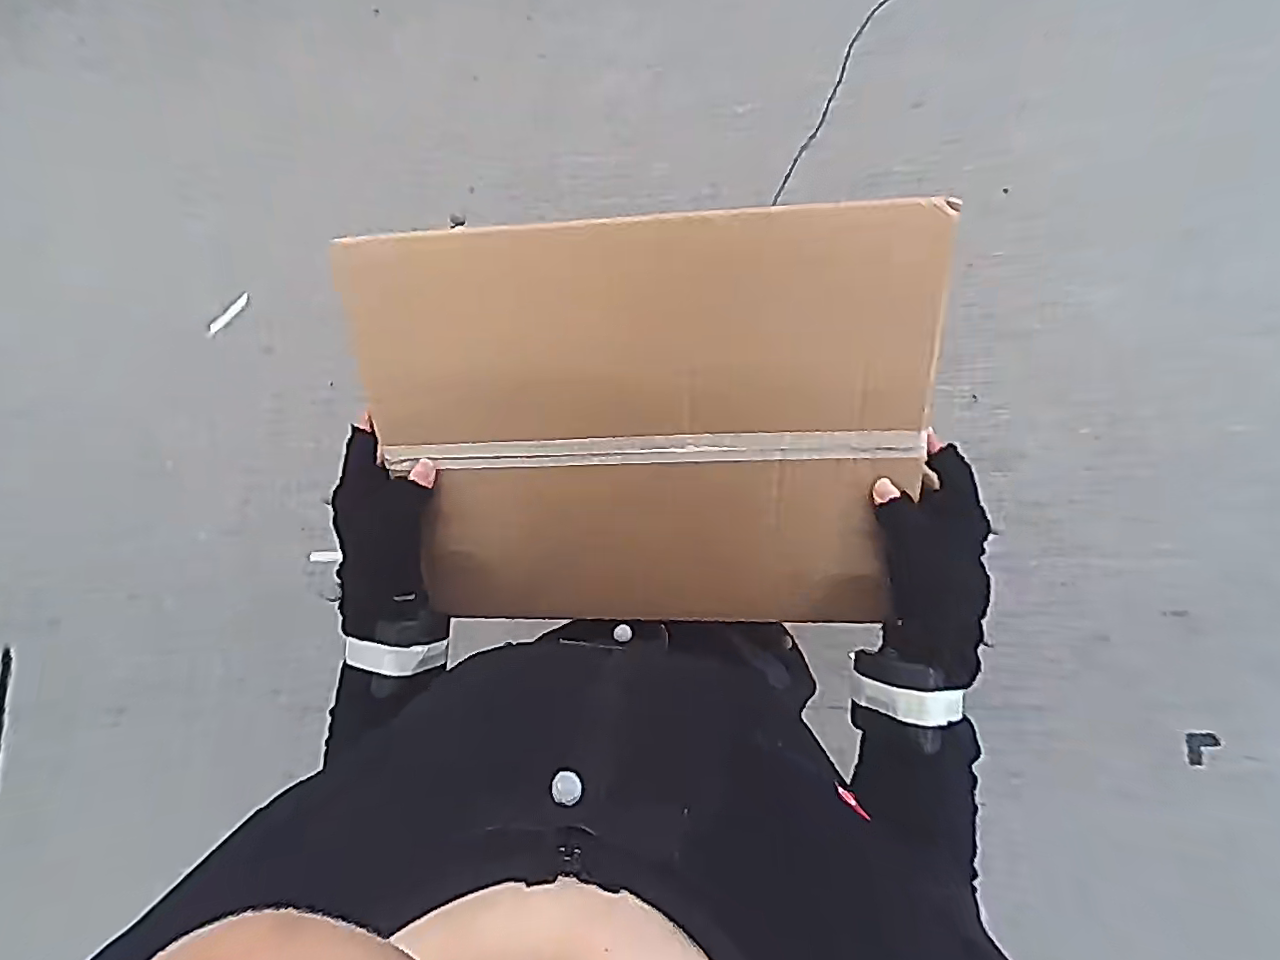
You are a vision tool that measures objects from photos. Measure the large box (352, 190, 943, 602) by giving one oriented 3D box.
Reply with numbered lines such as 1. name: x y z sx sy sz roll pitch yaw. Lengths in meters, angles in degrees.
1. large box: 0.015 -0.093 0.550 0.408 0.320 0.320 -1 115 6
